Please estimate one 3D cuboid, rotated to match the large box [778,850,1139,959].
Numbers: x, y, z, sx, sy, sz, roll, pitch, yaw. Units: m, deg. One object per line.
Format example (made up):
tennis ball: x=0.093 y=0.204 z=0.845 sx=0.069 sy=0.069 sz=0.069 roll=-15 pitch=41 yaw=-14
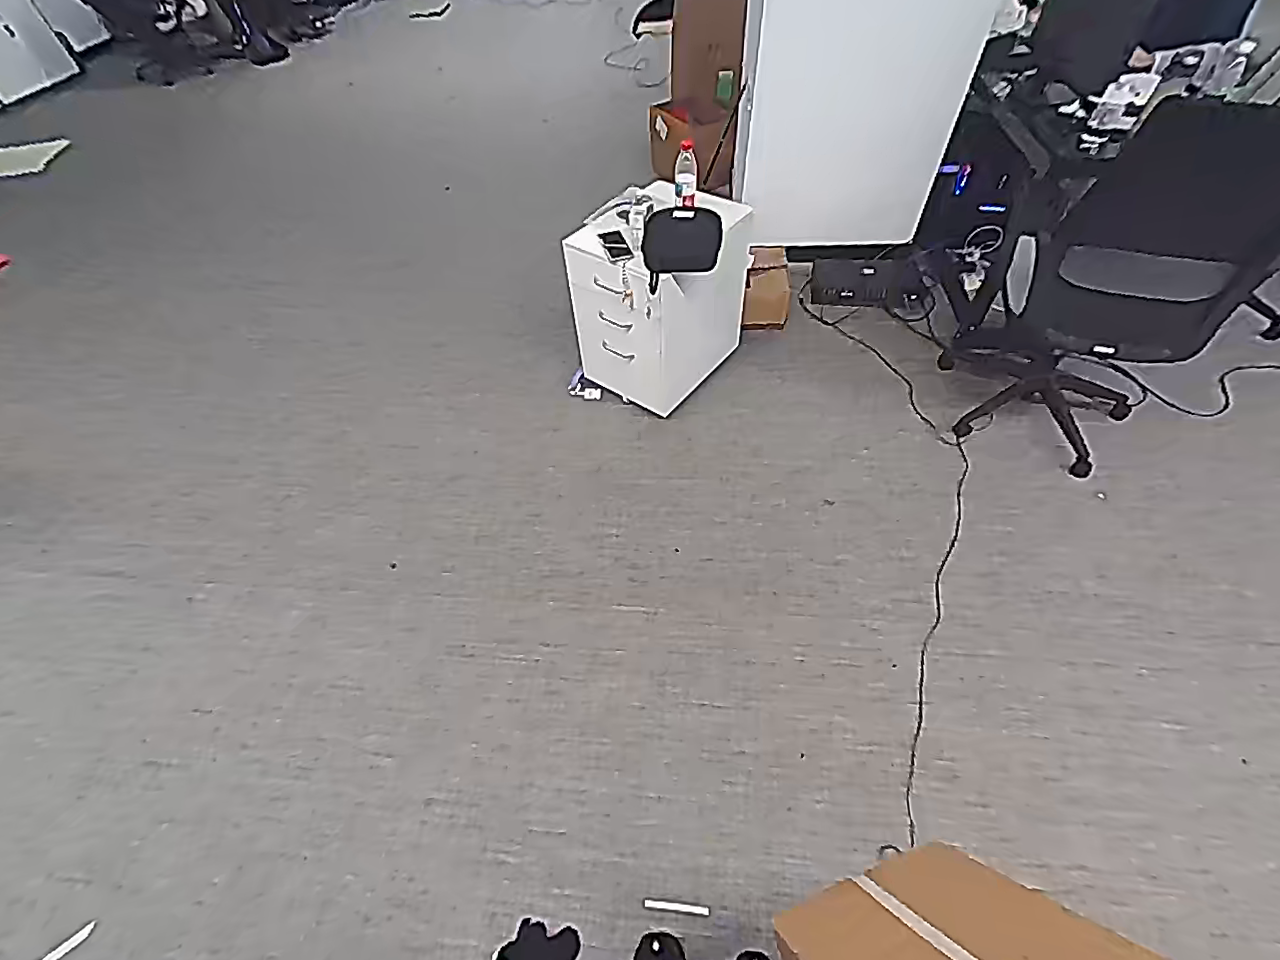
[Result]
large box: x=0.421 y=0.726 z=0.633 sx=0.320 sy=0.408 sz=0.320 roll=-15 pitch=77 yaw=-12
